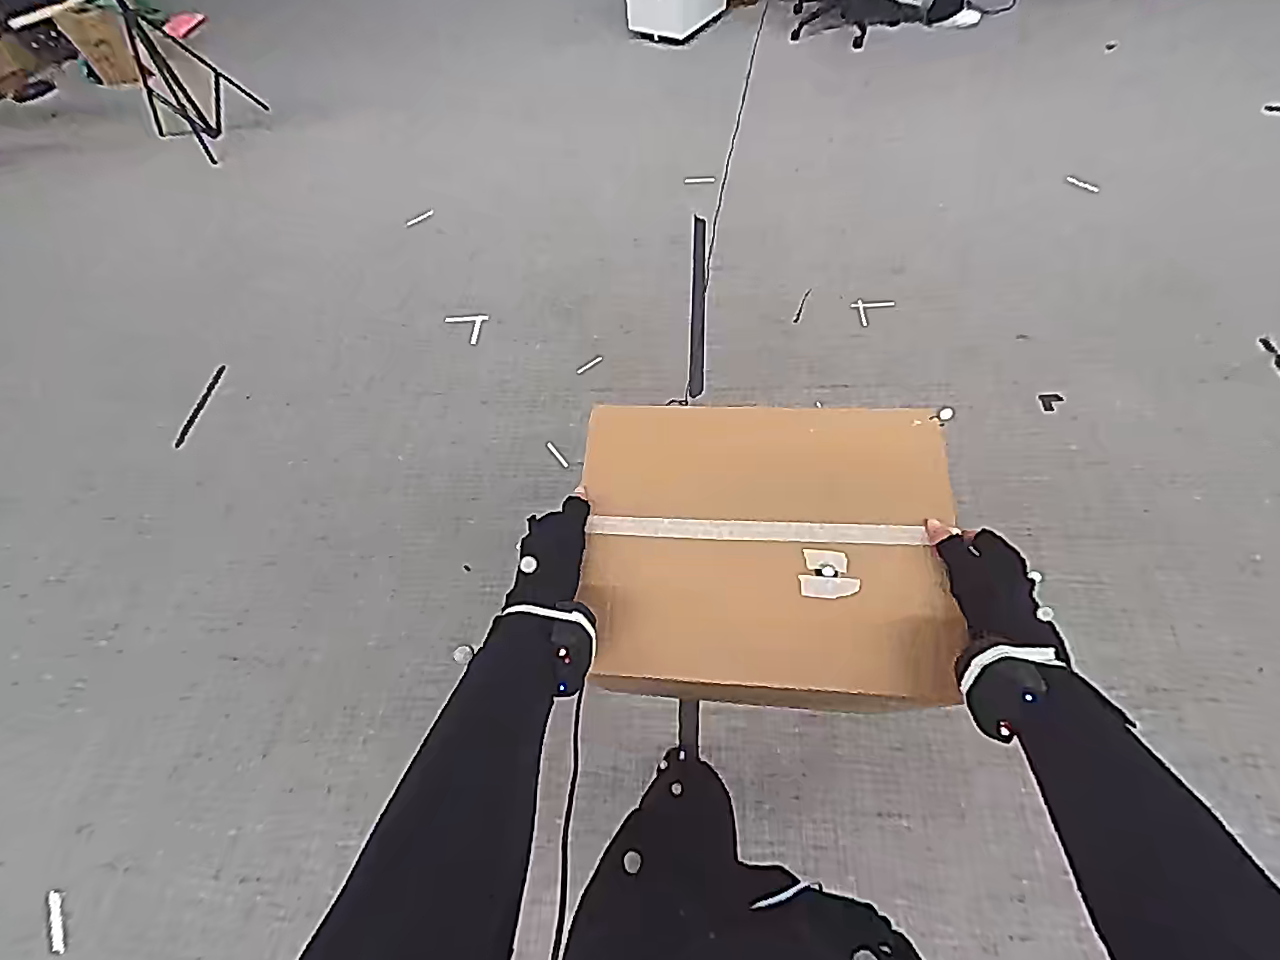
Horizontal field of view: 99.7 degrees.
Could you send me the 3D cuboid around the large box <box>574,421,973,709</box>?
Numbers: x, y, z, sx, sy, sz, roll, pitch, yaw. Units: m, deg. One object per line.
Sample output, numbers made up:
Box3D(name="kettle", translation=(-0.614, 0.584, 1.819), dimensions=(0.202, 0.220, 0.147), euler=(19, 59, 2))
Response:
Box3D(name="large box", translation=(0.146, 0.130, 0.737), dimensions=(0.408, 0.320, 0.320), euler=(2, 66, 6))
